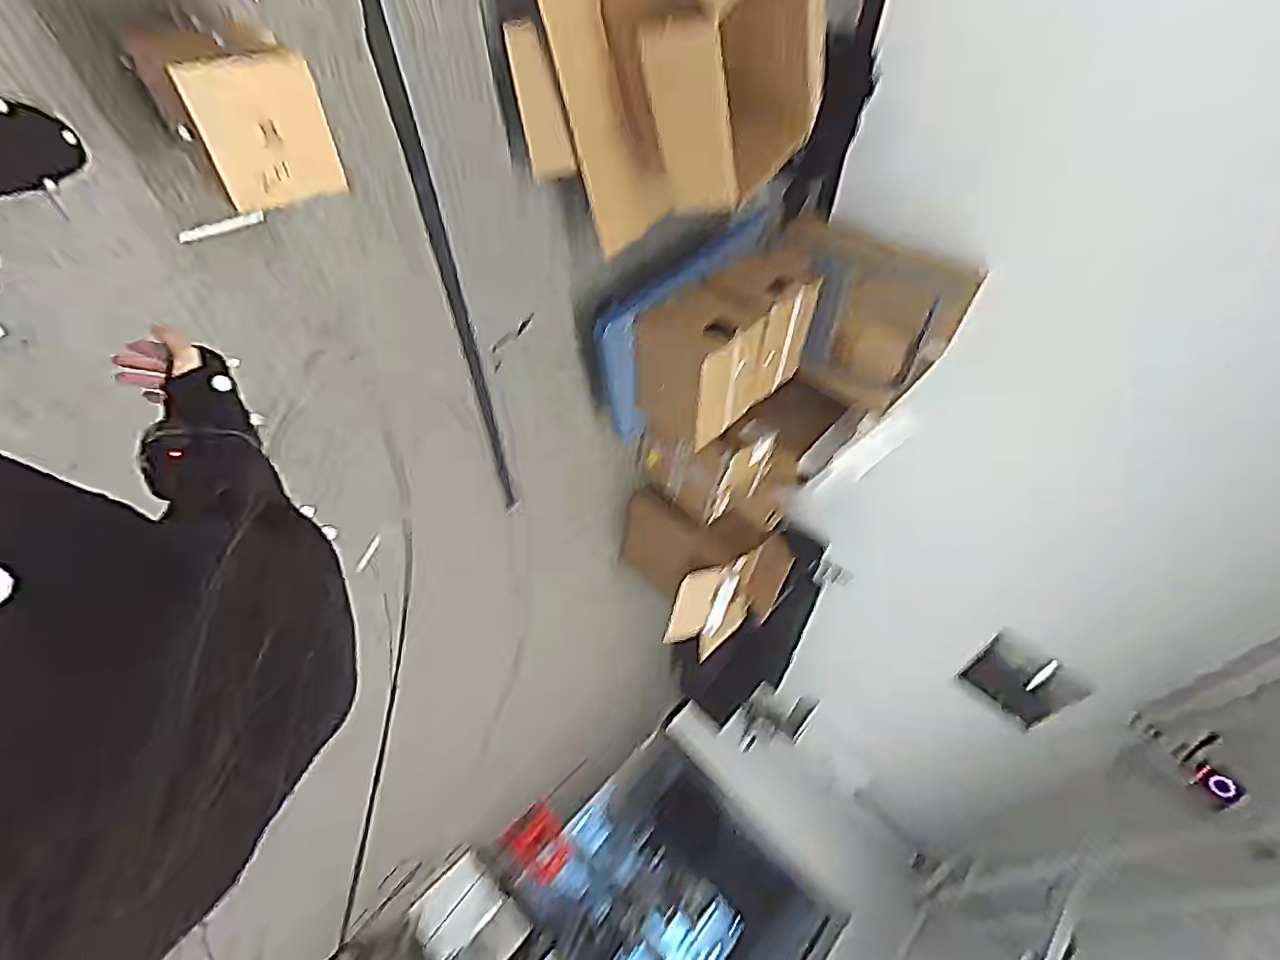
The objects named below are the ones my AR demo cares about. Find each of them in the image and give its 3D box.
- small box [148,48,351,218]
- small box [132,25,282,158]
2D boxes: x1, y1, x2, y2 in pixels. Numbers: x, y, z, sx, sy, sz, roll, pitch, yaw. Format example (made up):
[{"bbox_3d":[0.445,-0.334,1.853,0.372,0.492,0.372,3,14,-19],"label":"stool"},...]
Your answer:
[{"bbox_3d":[-0.577,-0.524,0.808,0.168,0.176,0.179,-34,148,-30],"label":"small box"},{"bbox_3d":[-0.680,-0.625,0.889,0.179,0.176,0.168,-37,149,-29],"label":"small box"}]
